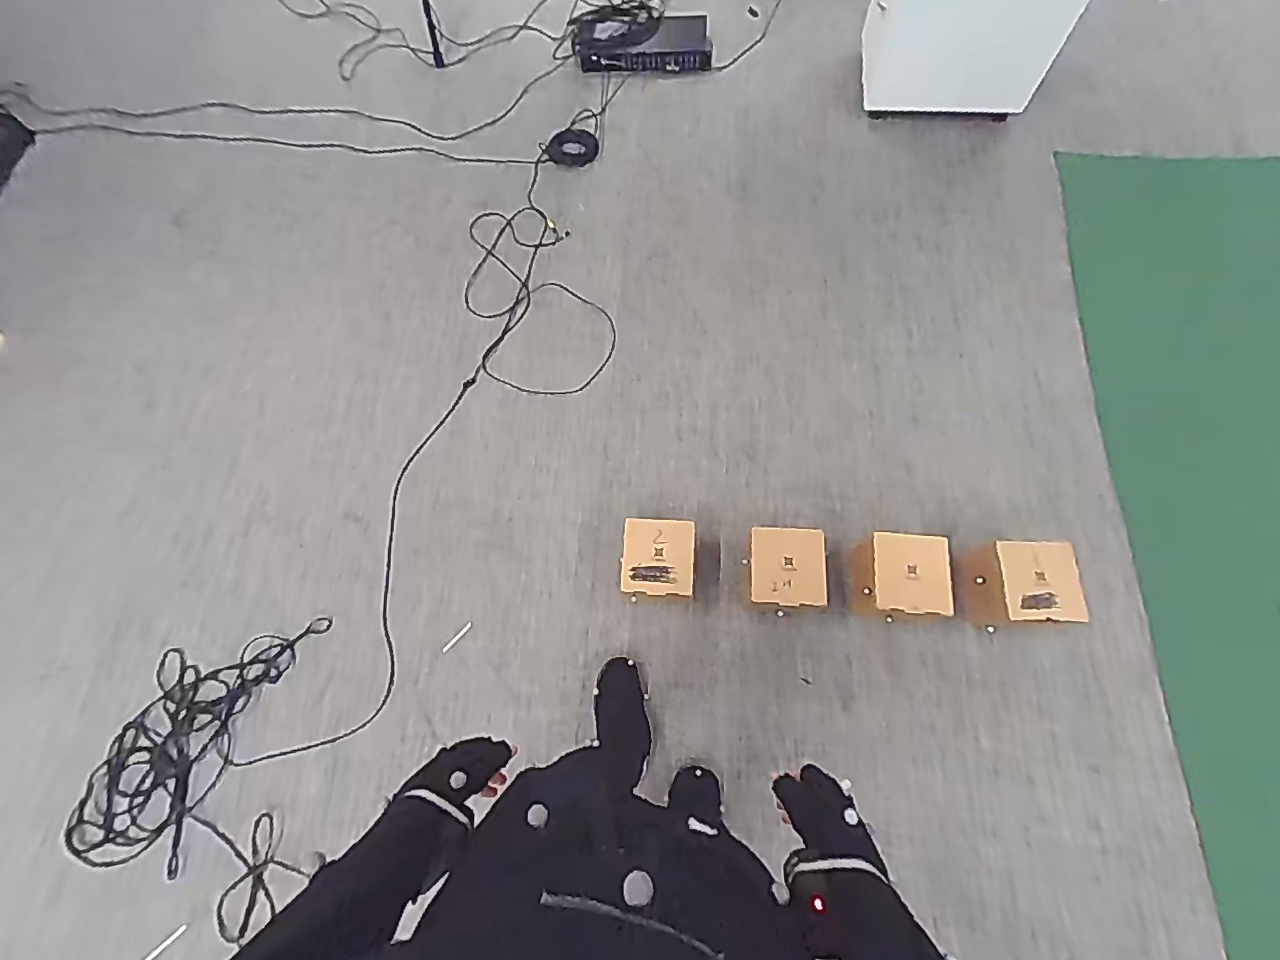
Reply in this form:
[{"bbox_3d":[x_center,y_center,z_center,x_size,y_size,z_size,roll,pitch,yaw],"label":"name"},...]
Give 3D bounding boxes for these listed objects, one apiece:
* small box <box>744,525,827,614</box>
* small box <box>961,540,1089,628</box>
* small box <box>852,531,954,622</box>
[{"bbox_3d":[0.338,0.216,1.288,0.168,0.176,0.179,2,71,6],"label":"small box"},{"bbox_3d":[0.874,0.244,1.245,0.168,0.176,0.179,1,70,4],"label":"small box"},{"bbox_3d":[0.606,0.231,1.268,0.168,0.176,0.179,4,71,5],"label":"small box"}]
